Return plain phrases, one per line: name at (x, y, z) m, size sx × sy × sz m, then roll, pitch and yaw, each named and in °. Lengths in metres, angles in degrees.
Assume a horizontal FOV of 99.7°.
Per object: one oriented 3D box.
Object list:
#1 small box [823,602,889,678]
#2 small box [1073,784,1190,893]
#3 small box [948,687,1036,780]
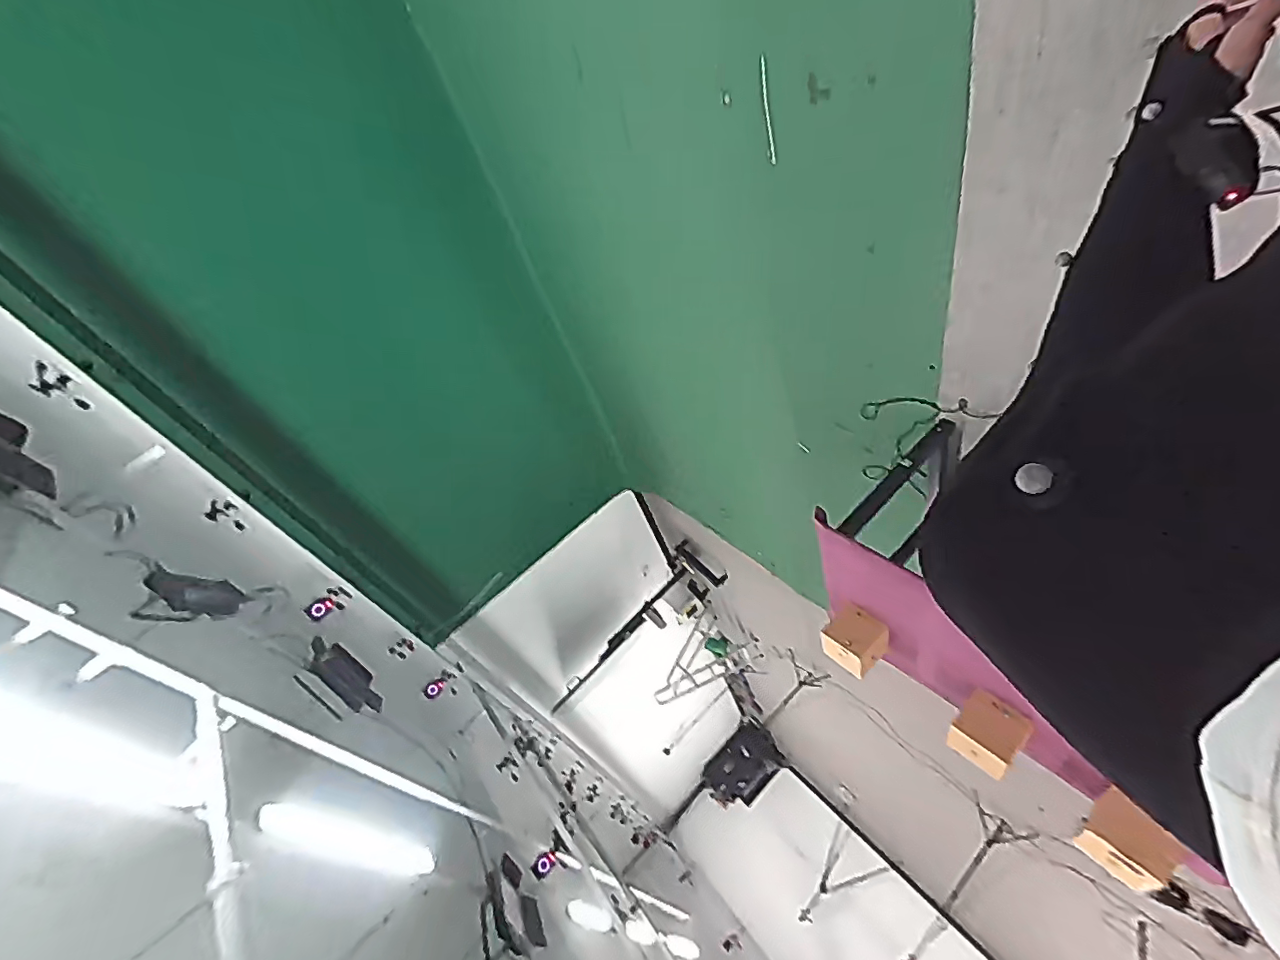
small box at (0.803, 0.589, 2.000) m, size 0.168 × 0.176 × 0.179 m, roll 32°, pitch 156°, yaw 43°
small box at (1.328, 0.963, 1.462) m, size 0.168 × 0.176 × 0.179 m, roll 36°, pitch 158°, yaw 41°
small box at (1.096, 0.788, 1.688) m, size 0.168 × 0.176 × 0.179 m, roll 33°, pitch 156°, yaw 42°
